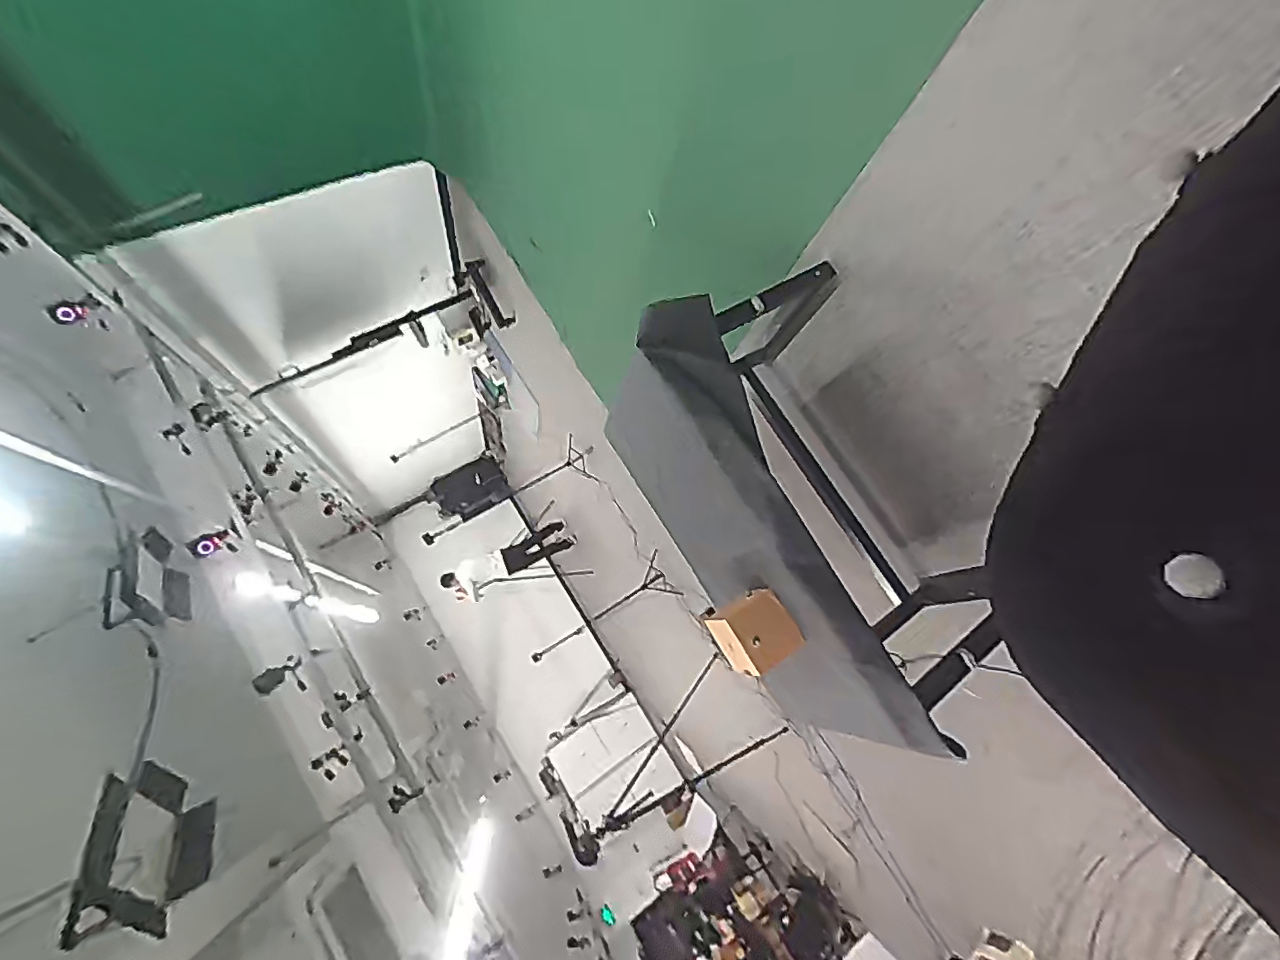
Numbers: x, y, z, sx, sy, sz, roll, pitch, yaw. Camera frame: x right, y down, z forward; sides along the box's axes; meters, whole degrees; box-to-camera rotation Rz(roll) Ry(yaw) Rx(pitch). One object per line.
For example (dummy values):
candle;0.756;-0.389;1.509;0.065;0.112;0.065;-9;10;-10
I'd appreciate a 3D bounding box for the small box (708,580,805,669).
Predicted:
small box;0.328;0.402;1.519;0.179;0.176;0.168;59;160;6
